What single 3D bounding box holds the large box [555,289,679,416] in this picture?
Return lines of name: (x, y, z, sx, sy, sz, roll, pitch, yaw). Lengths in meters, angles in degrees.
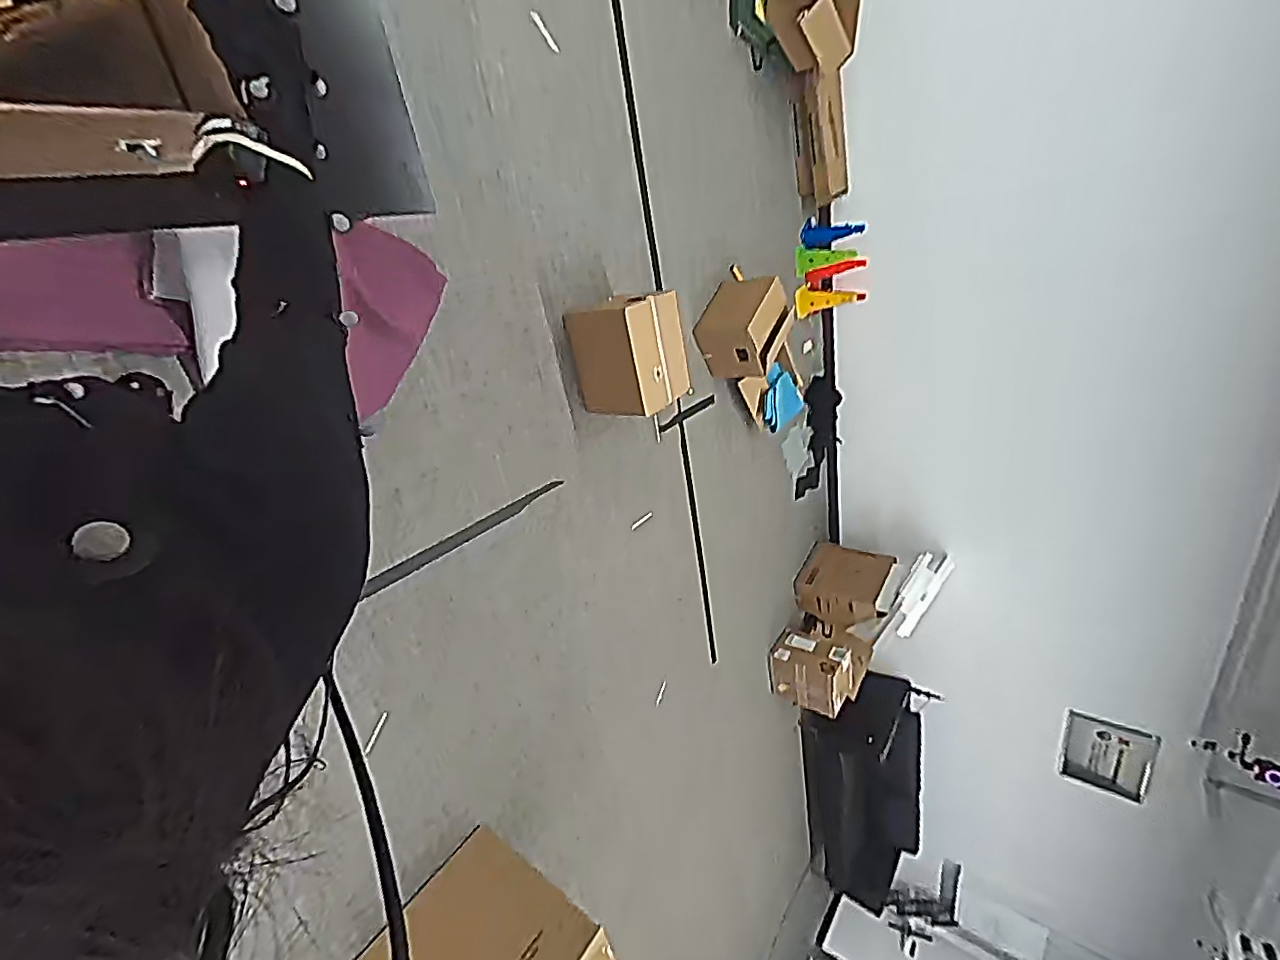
large box: (-0.082, -0.500, 2.114, 0.320, 0.320, 0.408, -37, 126, -42)
